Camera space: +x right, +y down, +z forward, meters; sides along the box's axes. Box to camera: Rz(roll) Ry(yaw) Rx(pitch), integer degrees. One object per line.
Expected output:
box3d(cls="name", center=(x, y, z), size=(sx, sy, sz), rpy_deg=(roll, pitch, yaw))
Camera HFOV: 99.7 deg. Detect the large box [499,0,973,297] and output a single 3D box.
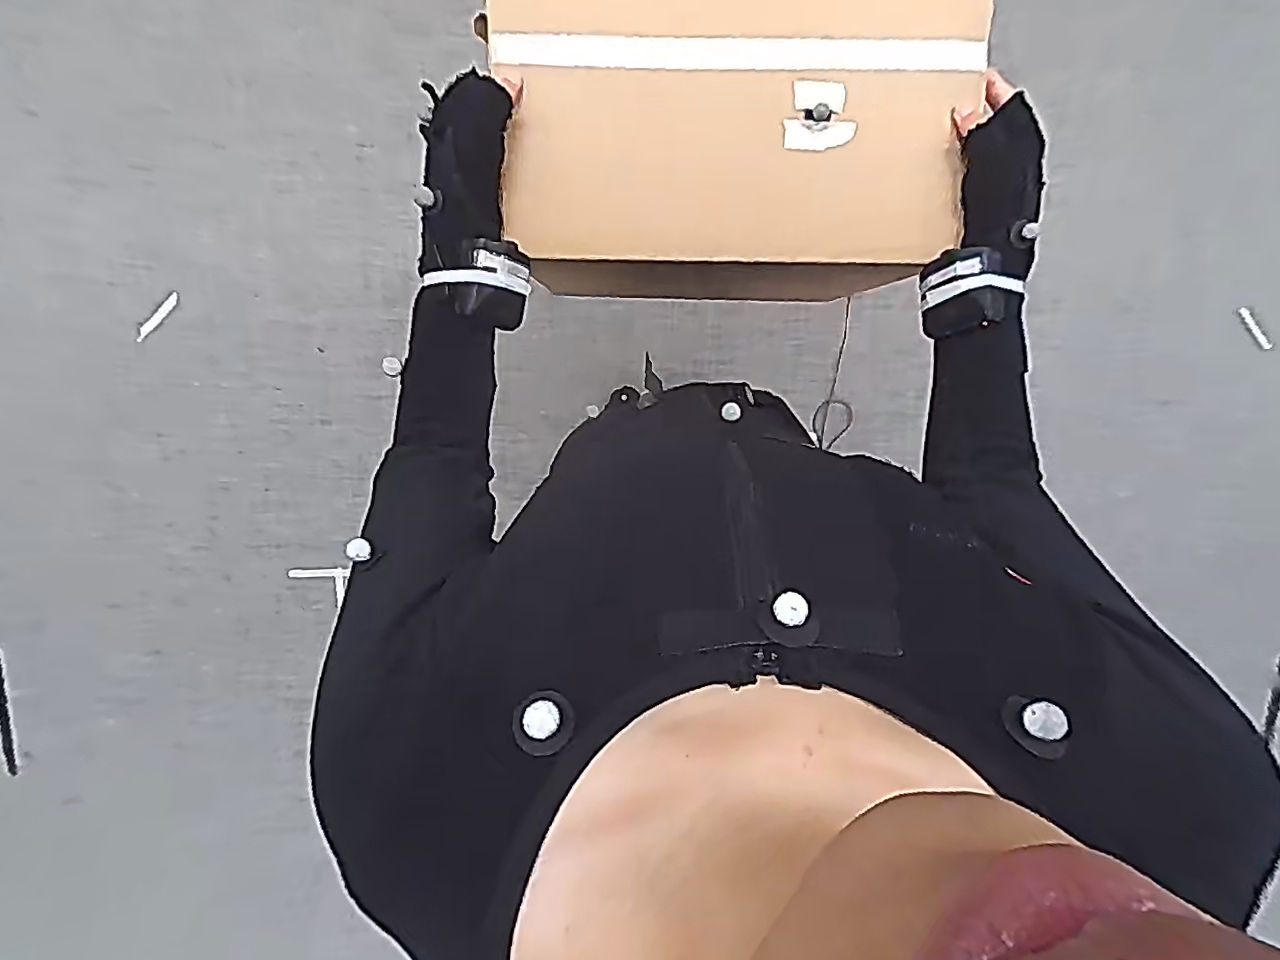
box3d(cls="large box", center=(0.076, -0.386, 0.606), size=(0.408, 0.320, 0.320), rpy_deg=(0, 103, -1))
